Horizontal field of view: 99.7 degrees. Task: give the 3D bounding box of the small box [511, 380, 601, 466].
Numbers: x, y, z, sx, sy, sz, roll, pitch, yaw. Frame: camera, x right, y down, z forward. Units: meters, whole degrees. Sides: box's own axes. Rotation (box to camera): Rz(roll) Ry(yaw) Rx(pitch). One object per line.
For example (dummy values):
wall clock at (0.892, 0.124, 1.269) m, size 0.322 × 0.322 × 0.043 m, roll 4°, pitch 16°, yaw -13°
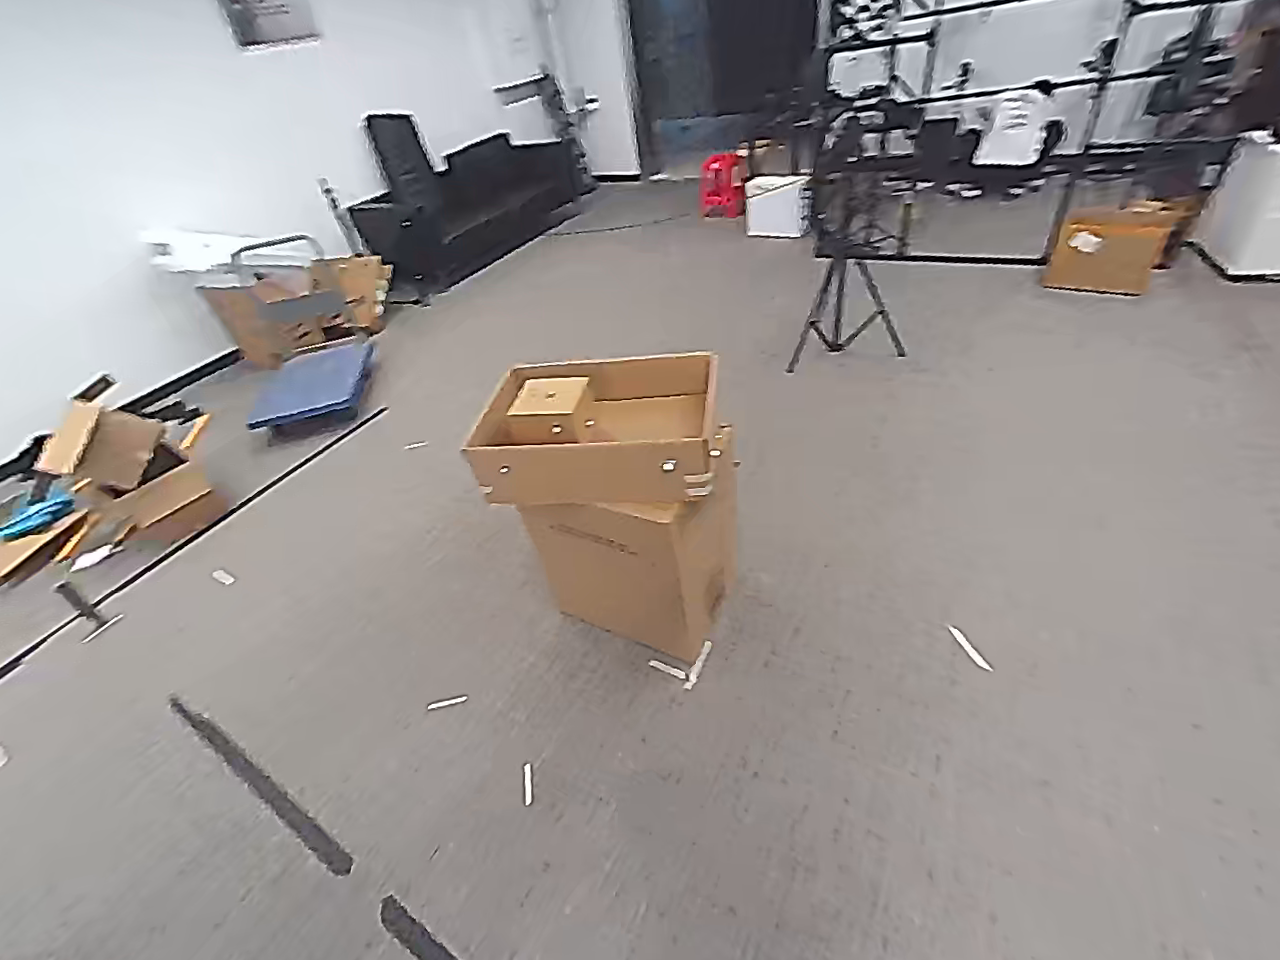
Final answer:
small box at (-0.215, -0.150, 1.451) m, size 0.179 × 0.176 × 0.168 m, roll 0°, pitch 42°, yaw 14°
